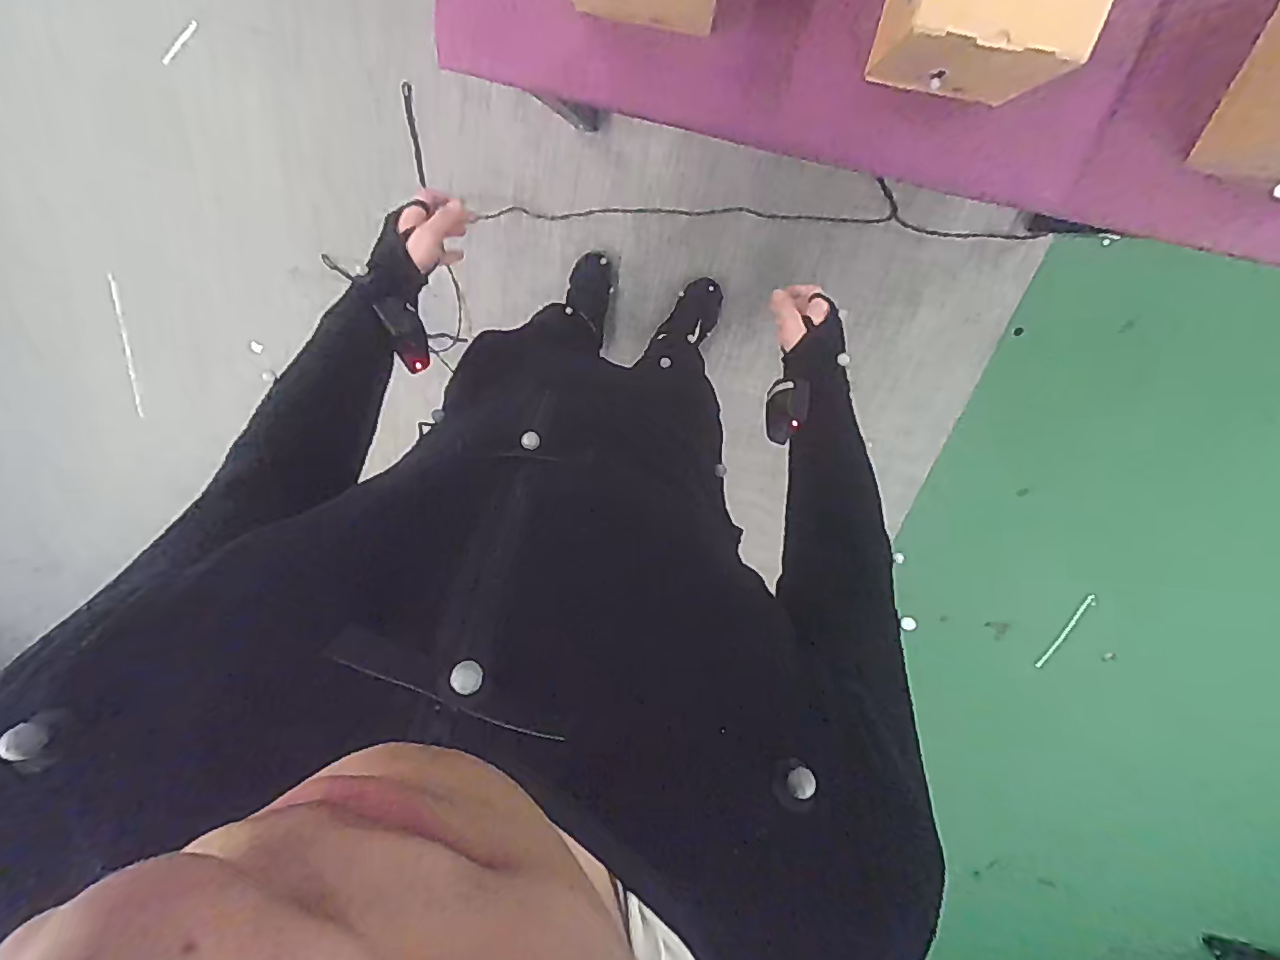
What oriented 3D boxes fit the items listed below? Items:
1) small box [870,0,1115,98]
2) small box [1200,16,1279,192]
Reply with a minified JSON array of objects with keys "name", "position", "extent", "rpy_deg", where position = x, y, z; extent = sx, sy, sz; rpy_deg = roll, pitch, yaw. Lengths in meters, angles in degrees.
[{"name":"small box","position":[0.349,-0.506,0.527],"extent":[0.168,0.176,0.179],"rpy_deg":[11,116,1]},{"name":"small box","position":[0.734,-0.394,0.528],"extent":[0.168,0.176,0.179],"rpy_deg":[16,116,1]}]
